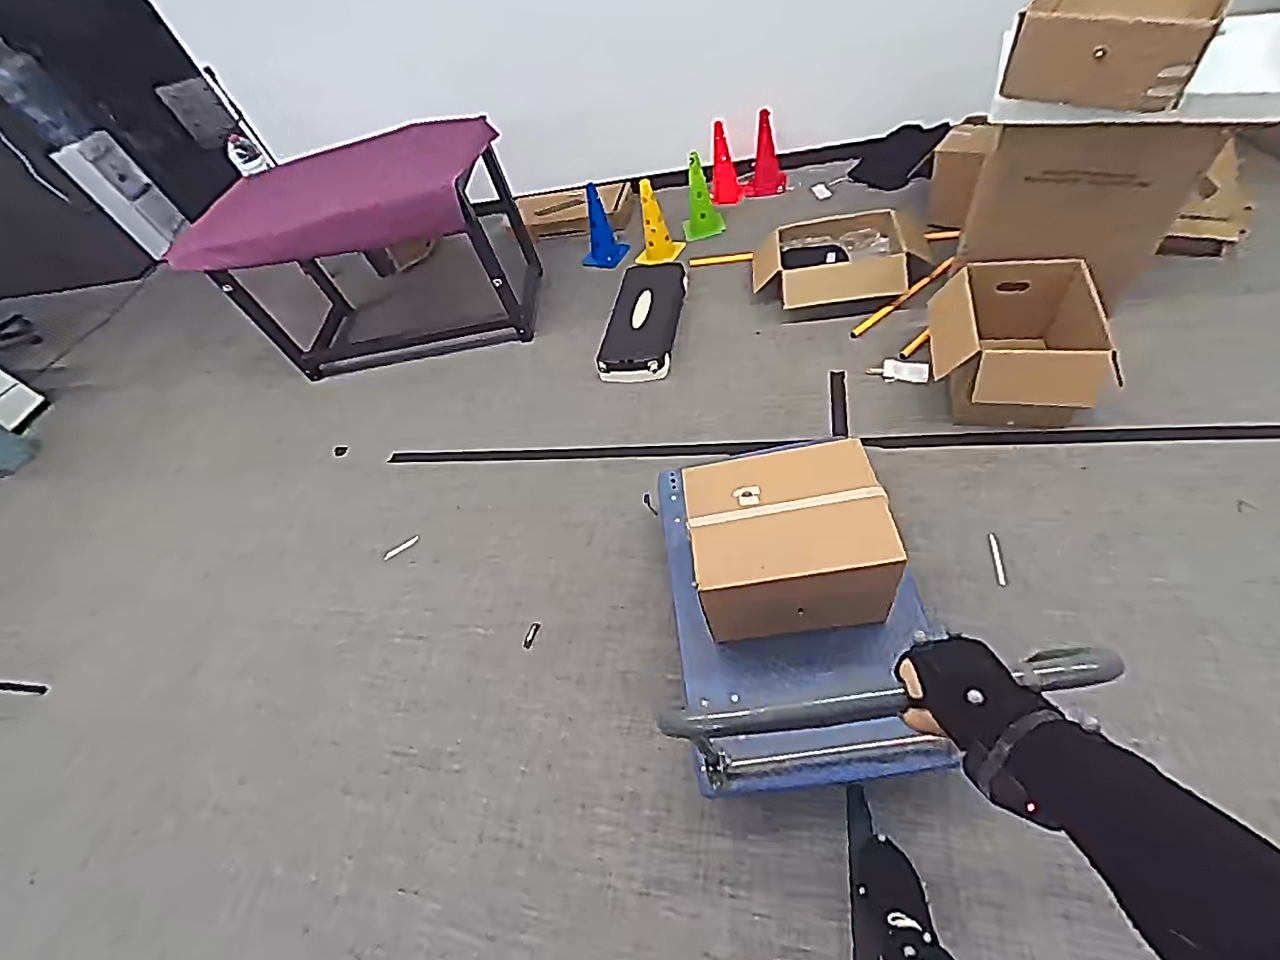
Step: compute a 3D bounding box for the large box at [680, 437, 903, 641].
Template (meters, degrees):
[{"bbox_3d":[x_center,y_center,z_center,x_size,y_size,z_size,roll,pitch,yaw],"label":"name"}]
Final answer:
[{"bbox_3d":[0.330,0.149,1.246,0.408,0.320,0.320,-11,51,9],"label":"large box"}]
